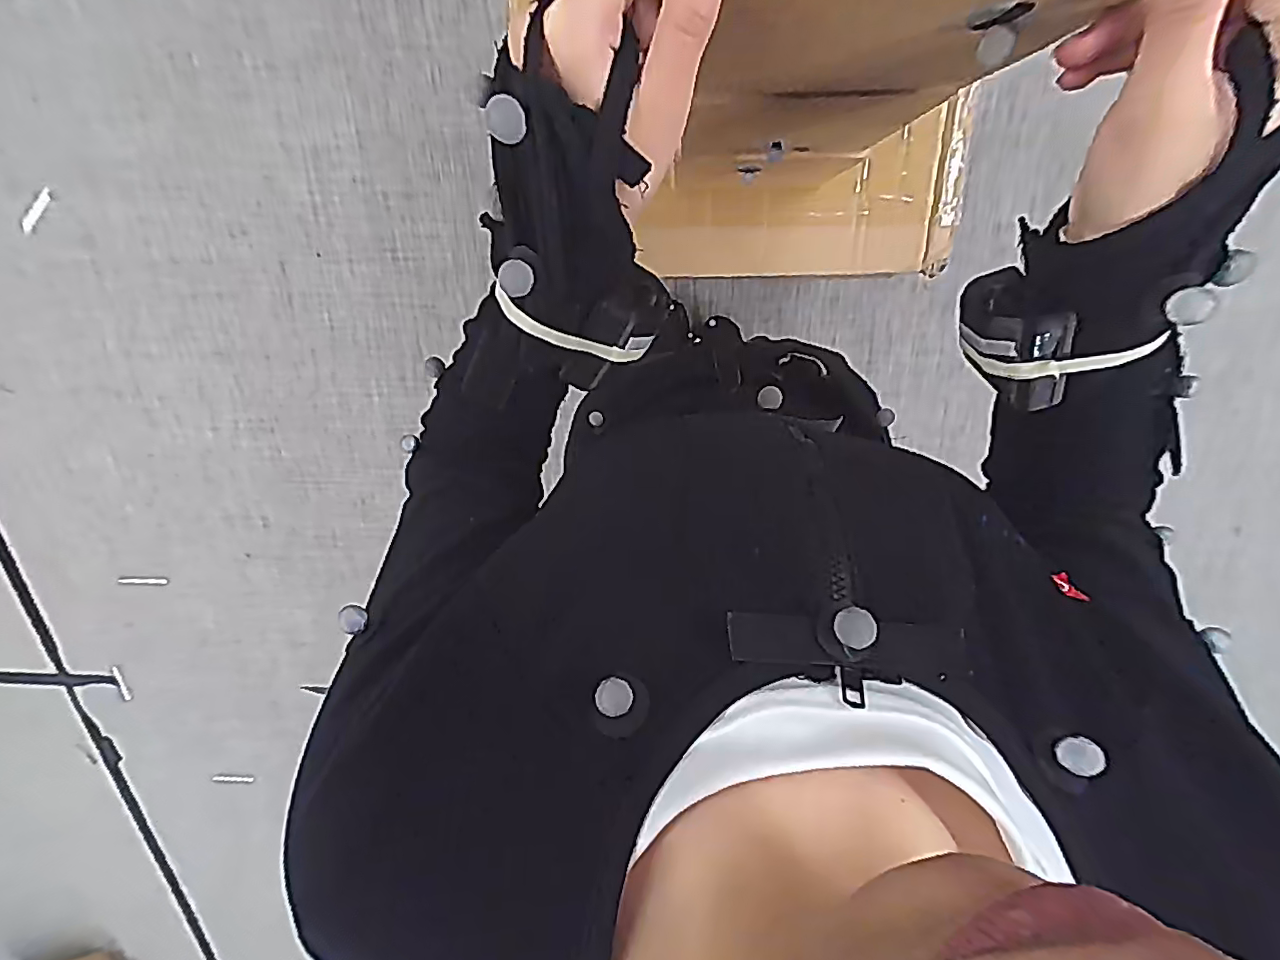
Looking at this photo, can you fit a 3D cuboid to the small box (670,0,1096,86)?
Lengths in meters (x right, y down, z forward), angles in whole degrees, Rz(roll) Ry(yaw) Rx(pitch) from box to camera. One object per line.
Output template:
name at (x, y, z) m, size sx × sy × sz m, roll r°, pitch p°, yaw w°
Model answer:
small box at (0.101, -0.277, 0.215) m, size 0.179 × 0.176 × 0.168 m, roll 0°, pitch 114°, yaw 4°

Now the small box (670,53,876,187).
small box at (0.119, -0.391, 0.528) m, size 0.179 × 0.176 × 0.168 m, roll 0°, pitch 111°, yaw 3°
